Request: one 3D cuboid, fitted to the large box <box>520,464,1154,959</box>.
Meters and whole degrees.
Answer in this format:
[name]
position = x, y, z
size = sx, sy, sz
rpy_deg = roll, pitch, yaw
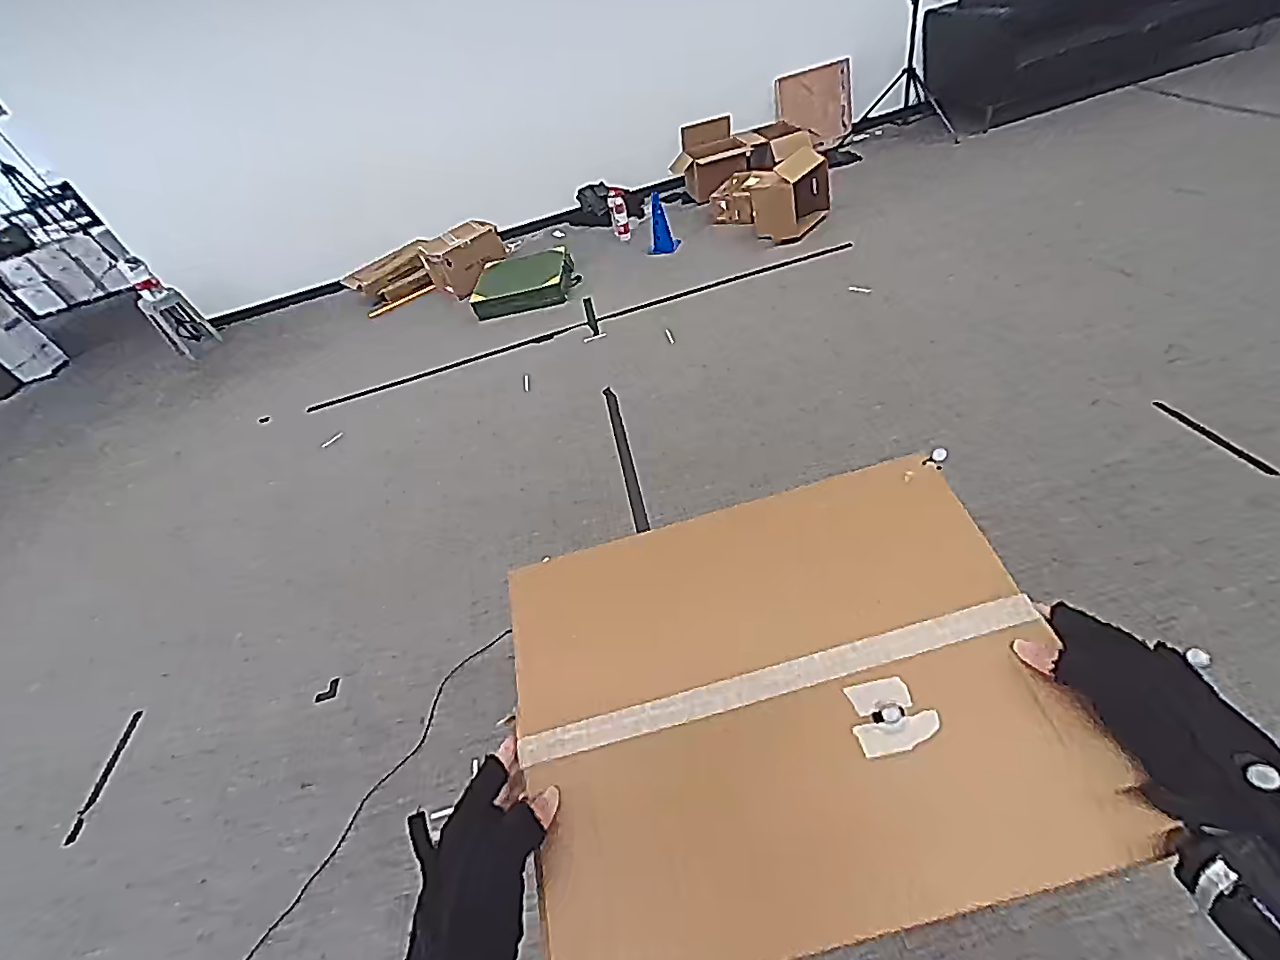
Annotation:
[large box]
position = 0.133, 0.243, 0.552
size = 0.408, 0.320, 0.320
rpy_deg = -17, 56, 1
